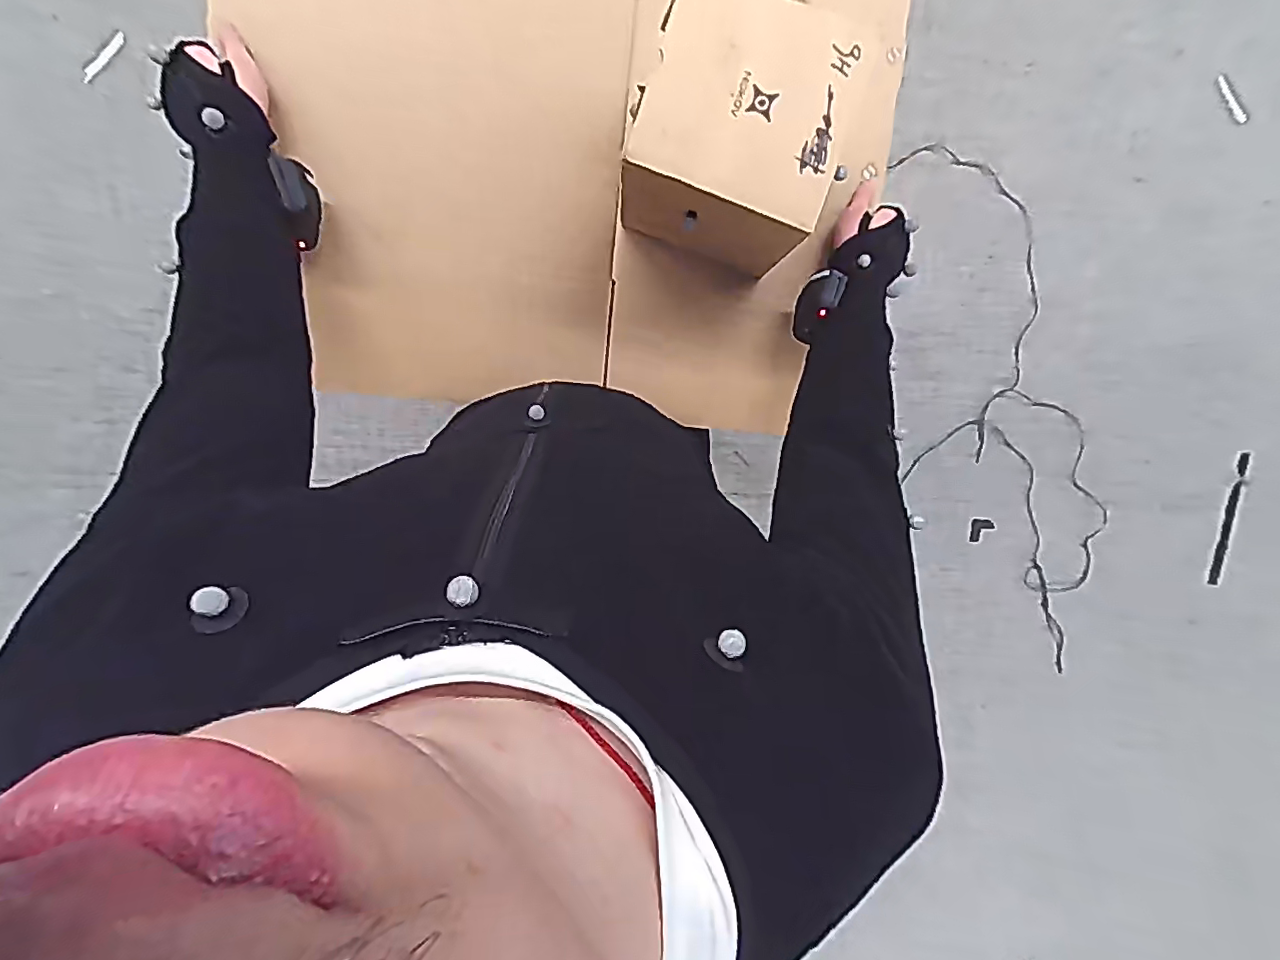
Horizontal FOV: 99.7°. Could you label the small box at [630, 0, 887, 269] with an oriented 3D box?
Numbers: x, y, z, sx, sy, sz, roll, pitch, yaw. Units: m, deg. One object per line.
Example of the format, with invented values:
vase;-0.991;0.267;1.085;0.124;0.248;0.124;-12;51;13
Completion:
small box;0.097;-0.330;0.533;0.179;0.176;0.168;19;97;-4
